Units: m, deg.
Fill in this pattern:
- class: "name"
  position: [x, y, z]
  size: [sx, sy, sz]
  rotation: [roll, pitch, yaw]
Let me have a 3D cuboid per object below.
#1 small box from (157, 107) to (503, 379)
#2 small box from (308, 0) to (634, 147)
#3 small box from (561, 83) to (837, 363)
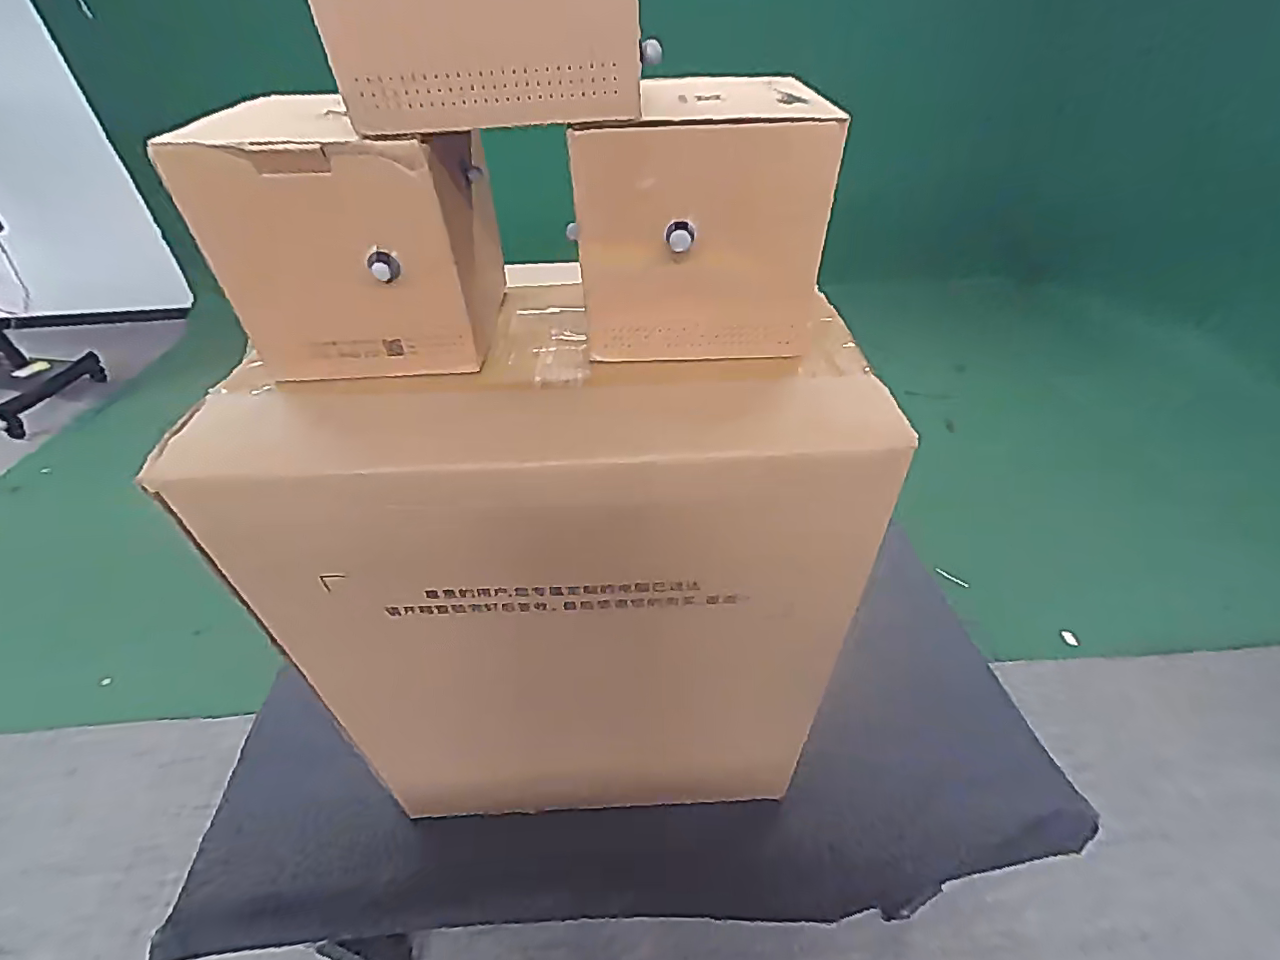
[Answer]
- class: "small box"
  position: [-0.216, -0.194, 0.444]
  size: [0.168, 0.176, 0.179]
  rotation: [-2, 42, -2]
- class: "small box"
  position: [-0.095, -0.322, 0.333]
  size: [0.179, 0.176, 0.168]
  rotation: [-5, 43, 0]
- class: "small box"
  position: [0.040, -0.209, 0.446]
  size: [0.179, 0.176, 0.168]
  rotation: [-3, 44, 1]
